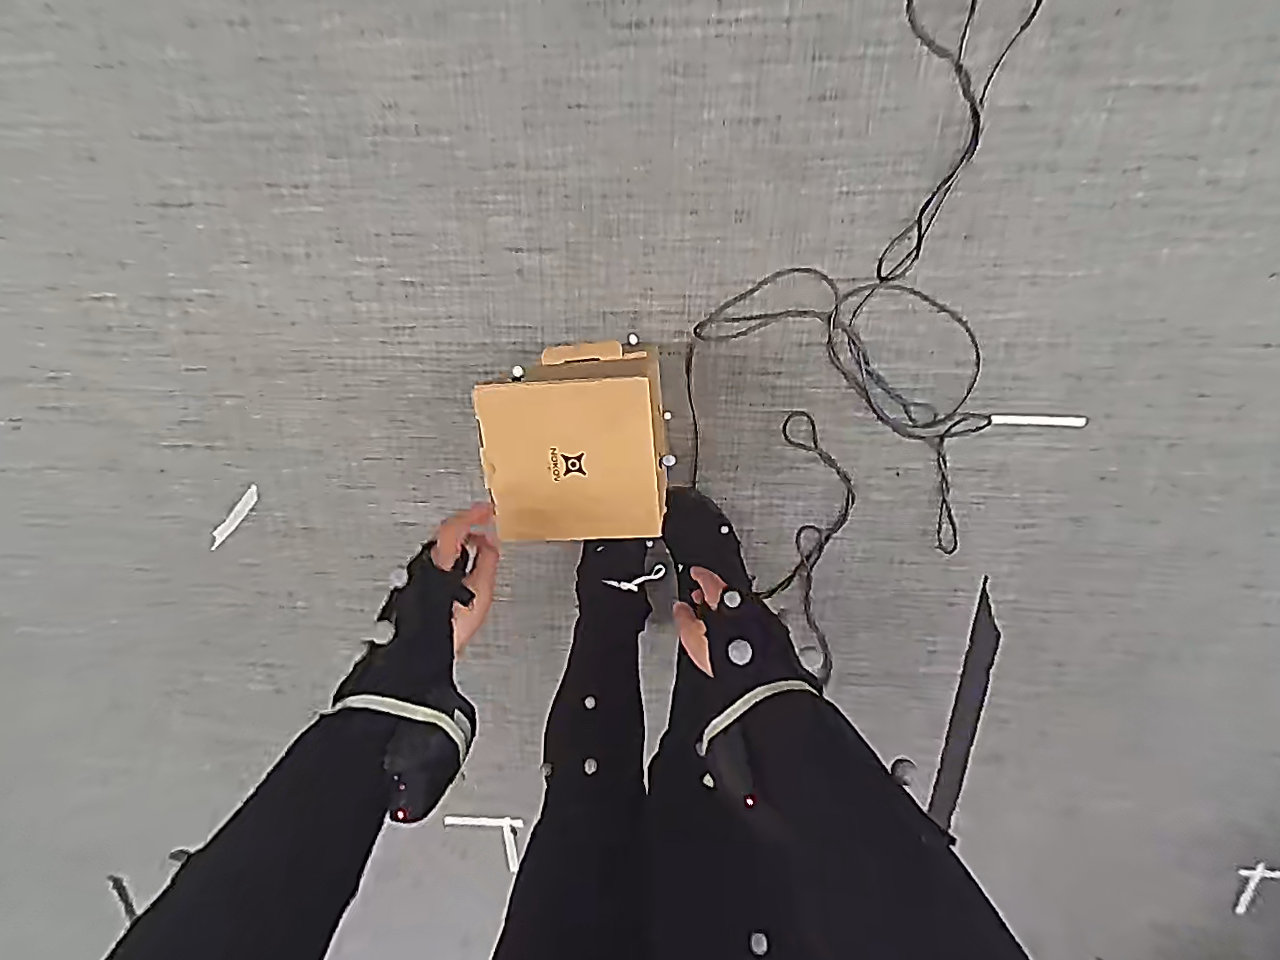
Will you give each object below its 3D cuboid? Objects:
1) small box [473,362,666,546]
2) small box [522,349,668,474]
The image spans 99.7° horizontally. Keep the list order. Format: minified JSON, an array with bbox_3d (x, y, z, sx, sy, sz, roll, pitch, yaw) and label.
[{"bbox_3d":[-0.062,-0.037,0.612,0.179,0.176,0.168,-3,108,7],"label":"small box"},{"bbox_3d":[-0.052,-0.087,0.766,0.168,0.176,0.179,-5,108,8],"label":"small box"}]
